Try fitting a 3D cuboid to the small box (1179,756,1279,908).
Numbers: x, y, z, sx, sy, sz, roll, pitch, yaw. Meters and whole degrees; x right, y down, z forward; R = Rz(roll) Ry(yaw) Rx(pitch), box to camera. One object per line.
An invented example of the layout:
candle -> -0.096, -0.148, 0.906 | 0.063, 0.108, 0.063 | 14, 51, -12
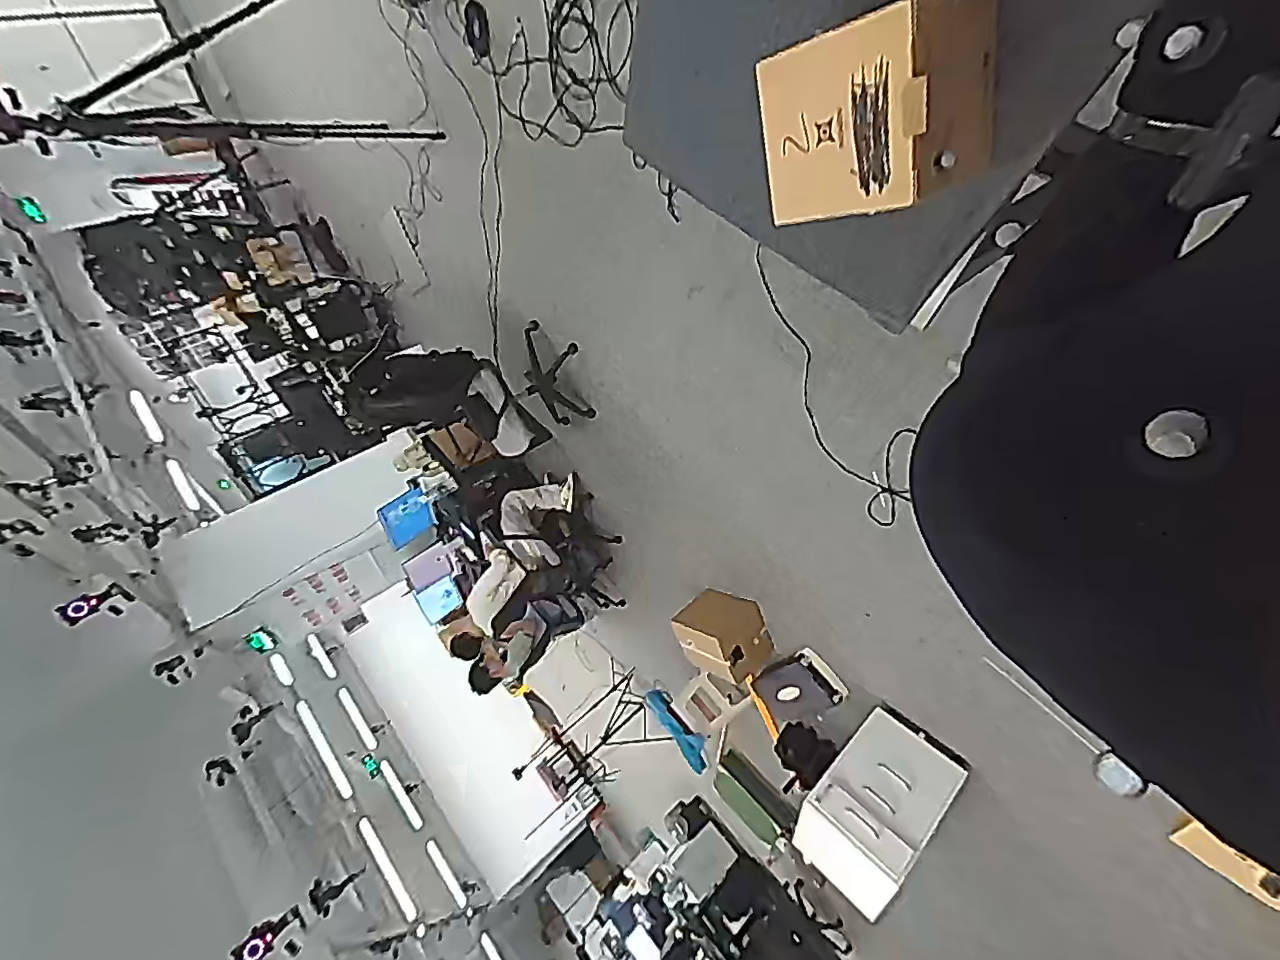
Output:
small box -> 1.244, 0.696, 1.072 | 0.179, 0.176, 0.168 | 33, 142, 38
